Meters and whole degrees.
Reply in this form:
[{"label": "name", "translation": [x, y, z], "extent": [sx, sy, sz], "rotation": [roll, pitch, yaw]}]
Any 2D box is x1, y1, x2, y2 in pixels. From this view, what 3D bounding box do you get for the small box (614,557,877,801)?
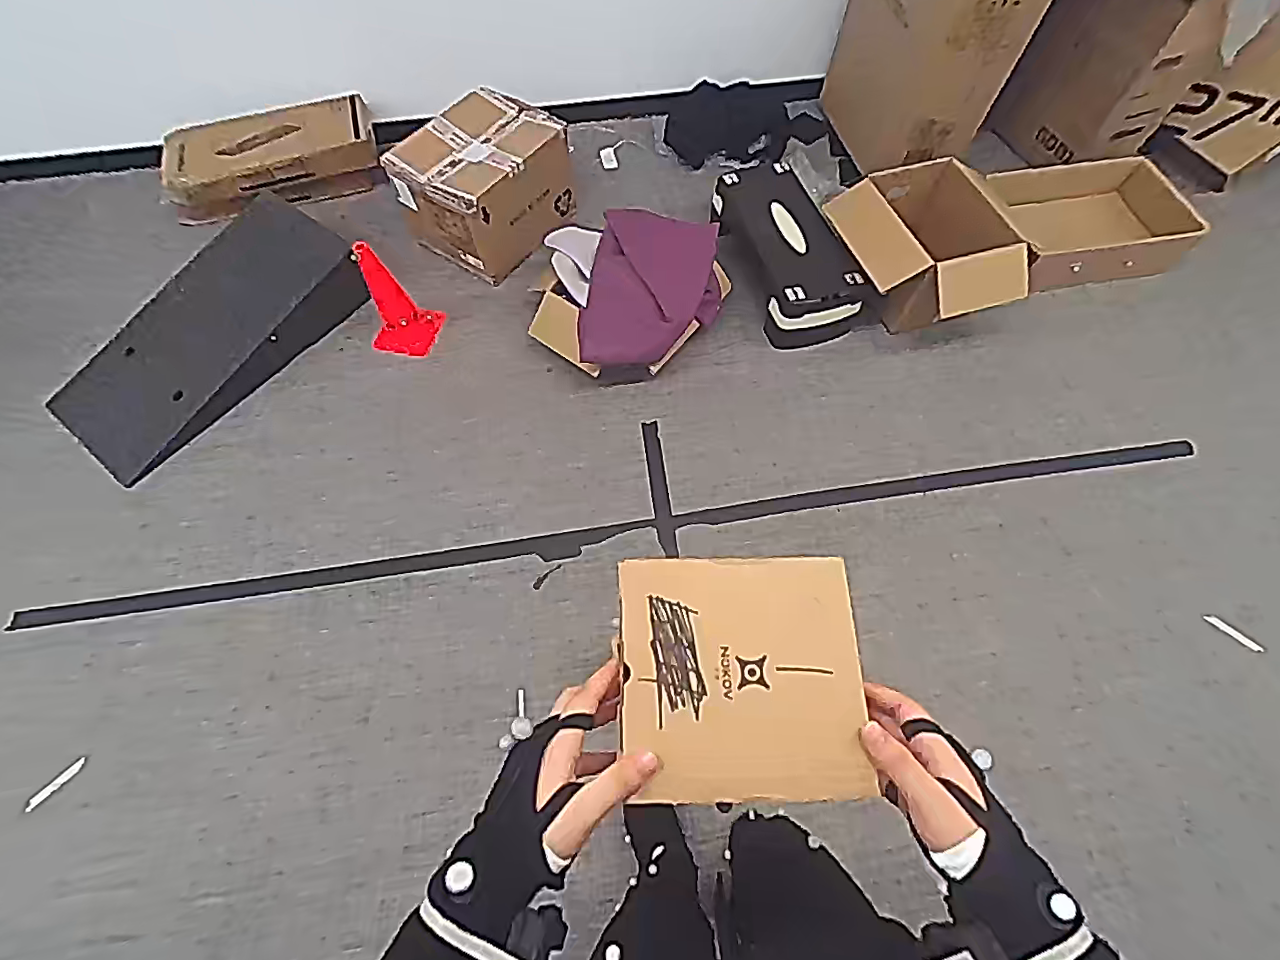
[{"label": "small box", "translation": [0.071, 0.165, 0.458], "extent": [0.179, 0.176, 0.168], "rotation": [0, 69, 0]}]
